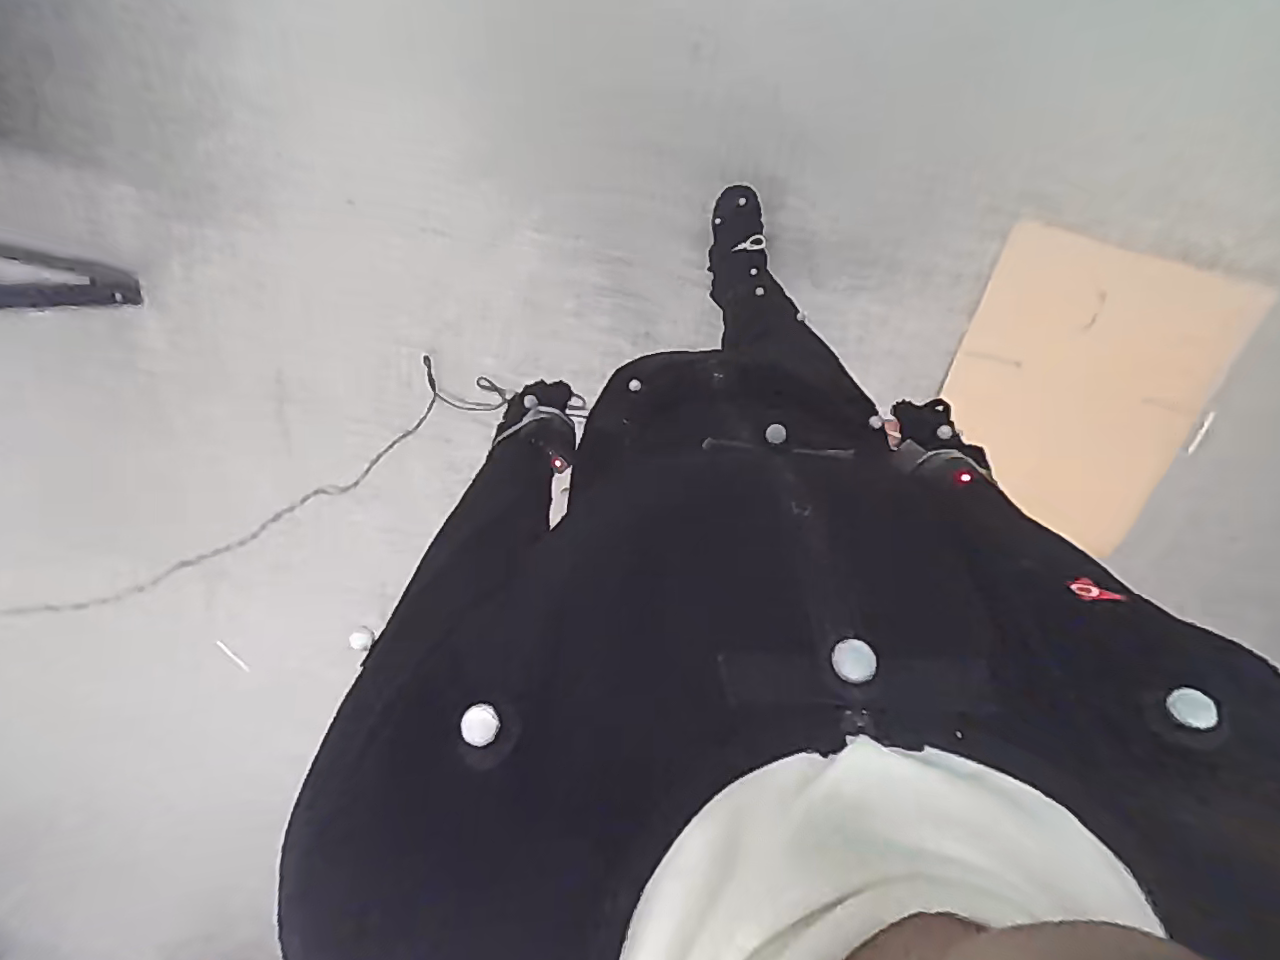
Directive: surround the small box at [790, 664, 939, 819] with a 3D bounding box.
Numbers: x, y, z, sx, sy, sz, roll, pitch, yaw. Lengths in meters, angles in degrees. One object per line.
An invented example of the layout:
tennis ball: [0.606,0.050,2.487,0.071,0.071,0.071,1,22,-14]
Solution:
small box: [0.408,0.478,1.019,0.179,0.176,0.168,38,107,-6]
